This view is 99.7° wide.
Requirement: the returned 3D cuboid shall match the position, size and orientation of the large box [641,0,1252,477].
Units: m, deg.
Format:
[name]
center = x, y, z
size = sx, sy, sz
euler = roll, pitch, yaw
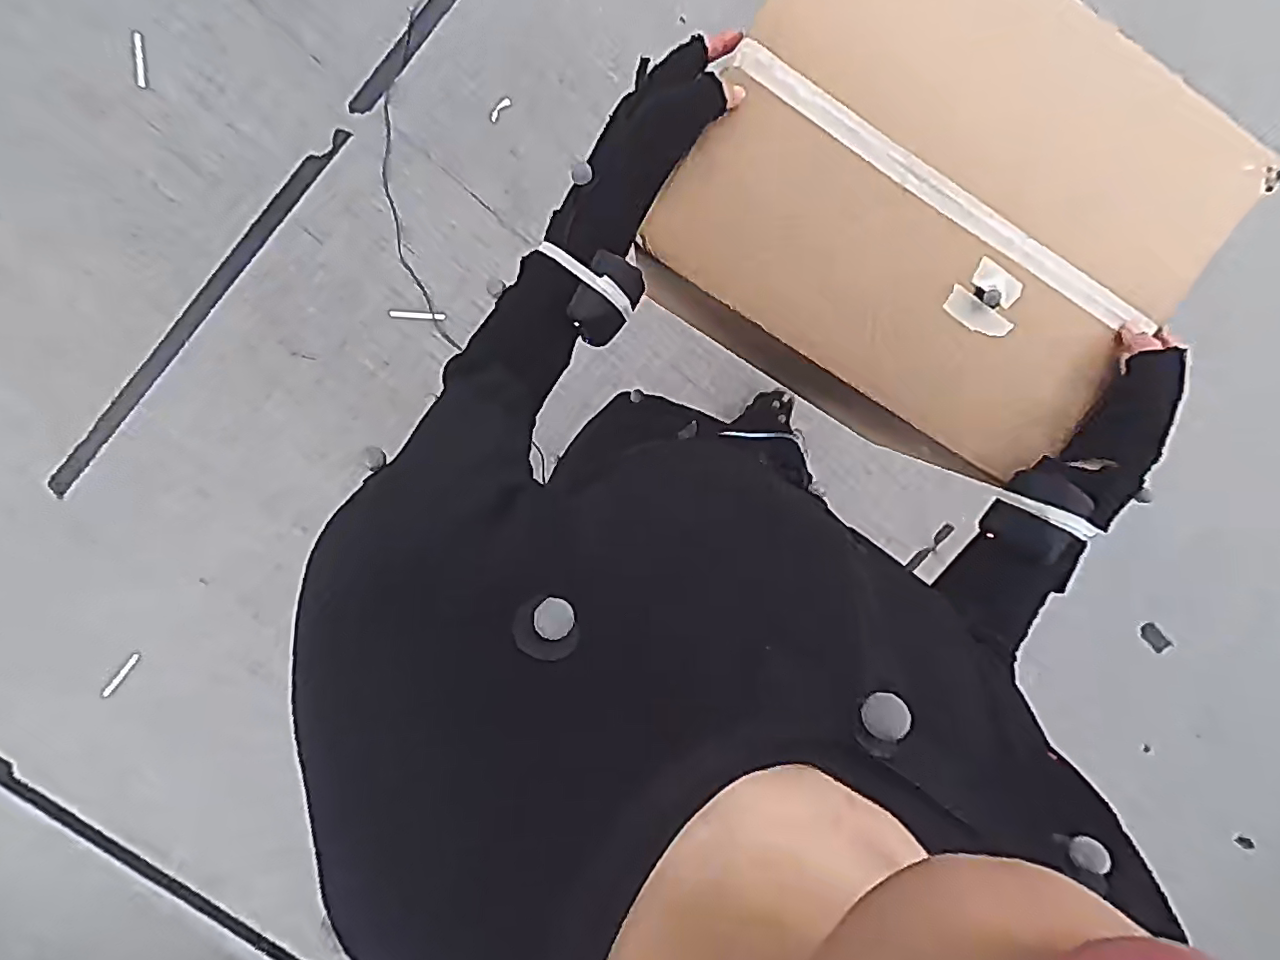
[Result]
[large box]
center = 0.246, -0.258, 0.585
size = 0.408, 0.320, 0.320
euler = 31, 102, -7
